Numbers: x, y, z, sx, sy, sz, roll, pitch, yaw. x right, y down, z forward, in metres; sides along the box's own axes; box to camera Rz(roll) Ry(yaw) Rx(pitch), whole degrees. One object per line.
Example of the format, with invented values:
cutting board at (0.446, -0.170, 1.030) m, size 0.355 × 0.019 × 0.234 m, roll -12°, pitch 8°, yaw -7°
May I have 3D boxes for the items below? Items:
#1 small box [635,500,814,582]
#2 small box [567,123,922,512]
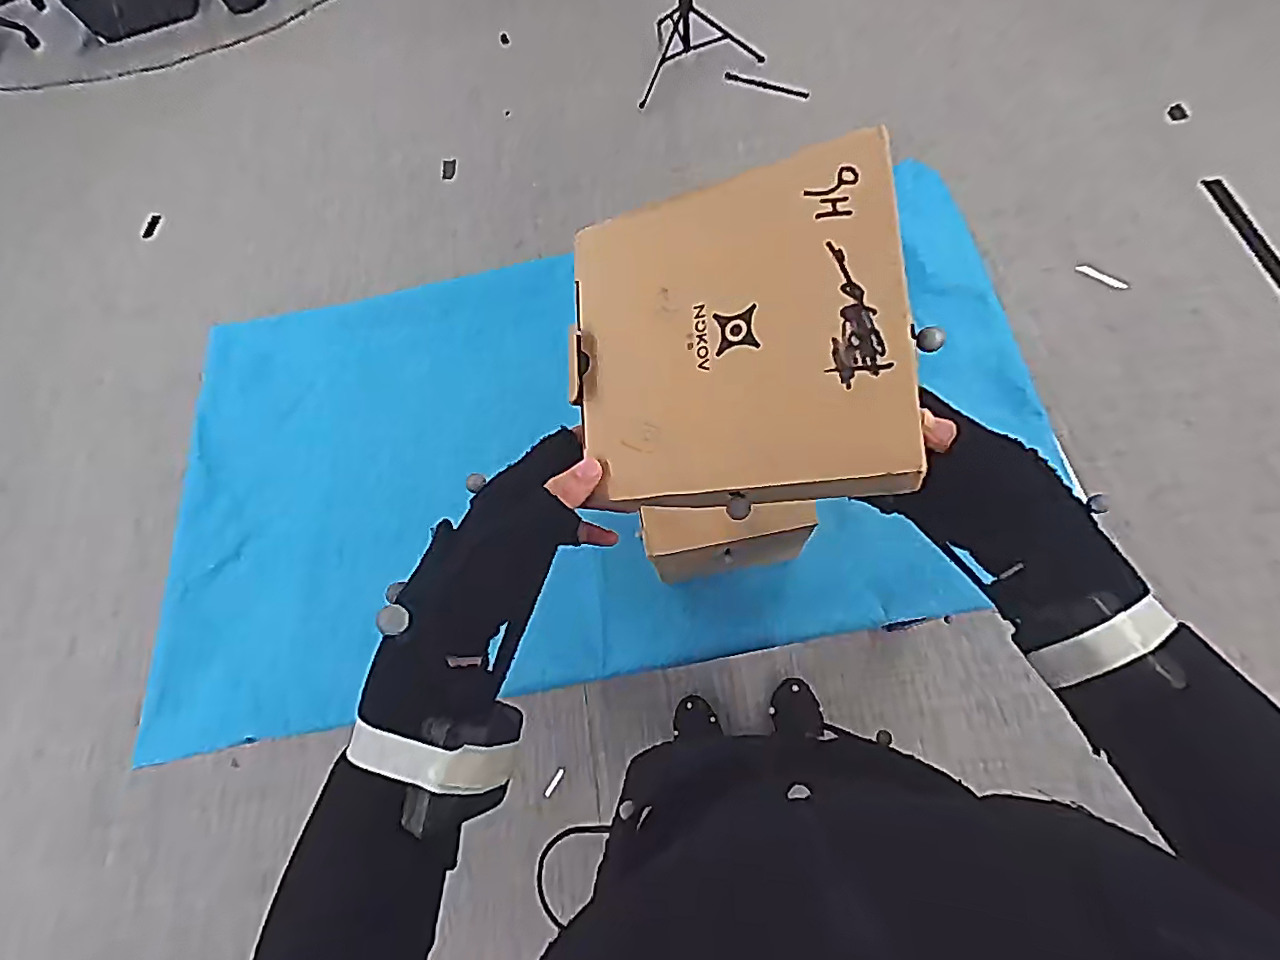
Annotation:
small box at (0.090, 0.017, 0.641) m, size 0.179 × 0.176 × 0.168 m, roll -12°, pitch 69°, yaw 5°
small box at (0.075, -0.070, 0.351) m, size 0.179 × 0.176 × 0.168 m, roll -9°, pitch 82°, yaw 26°
